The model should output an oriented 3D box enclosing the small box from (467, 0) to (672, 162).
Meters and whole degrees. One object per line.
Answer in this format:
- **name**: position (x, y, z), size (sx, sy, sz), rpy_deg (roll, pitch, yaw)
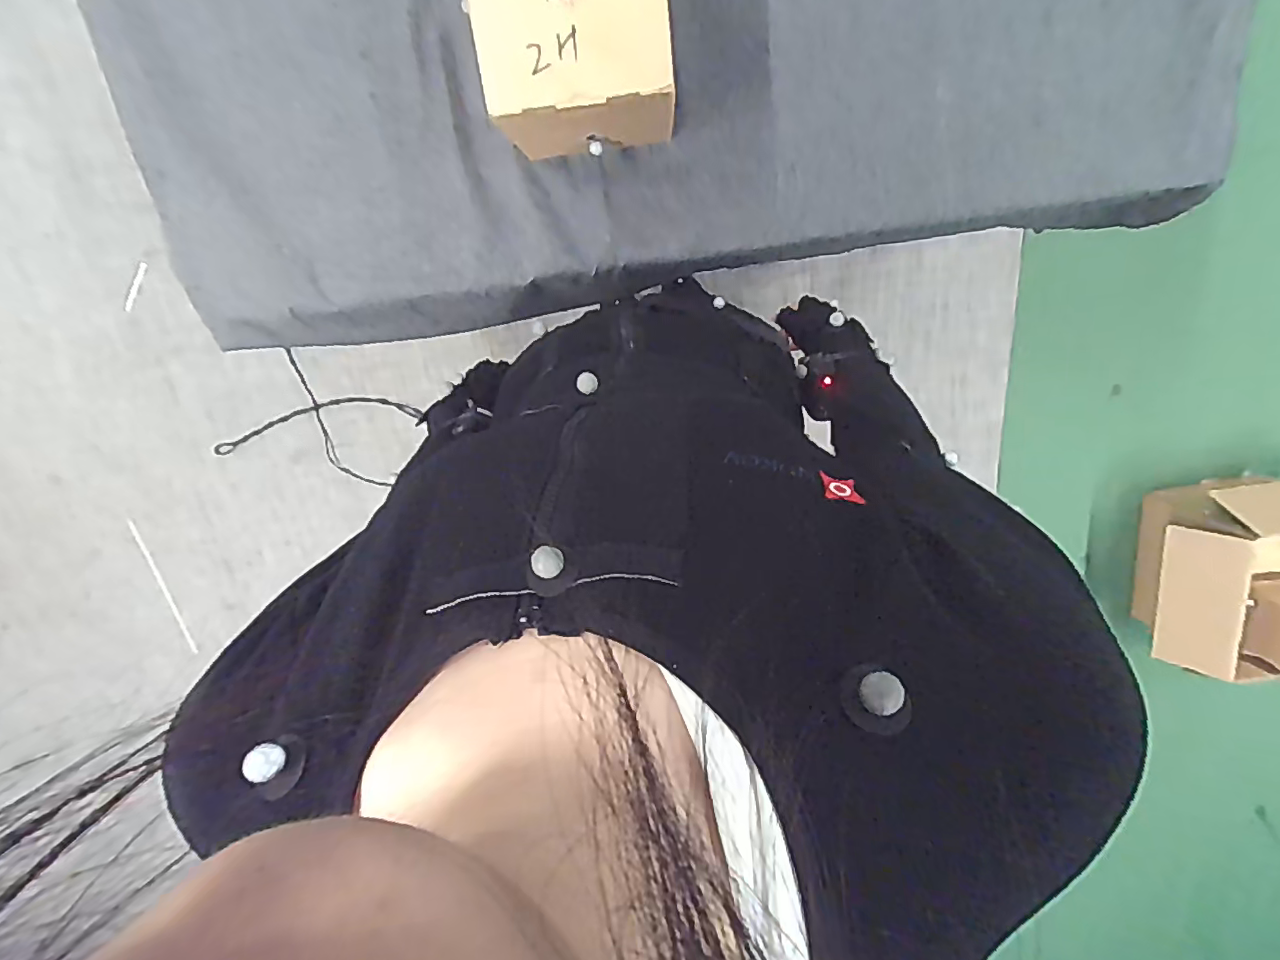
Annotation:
- **small box**: position (-0.060, -0.429, 0.516), size (0.168, 0.176, 0.179), rpy_deg (-6, 110, 4)
